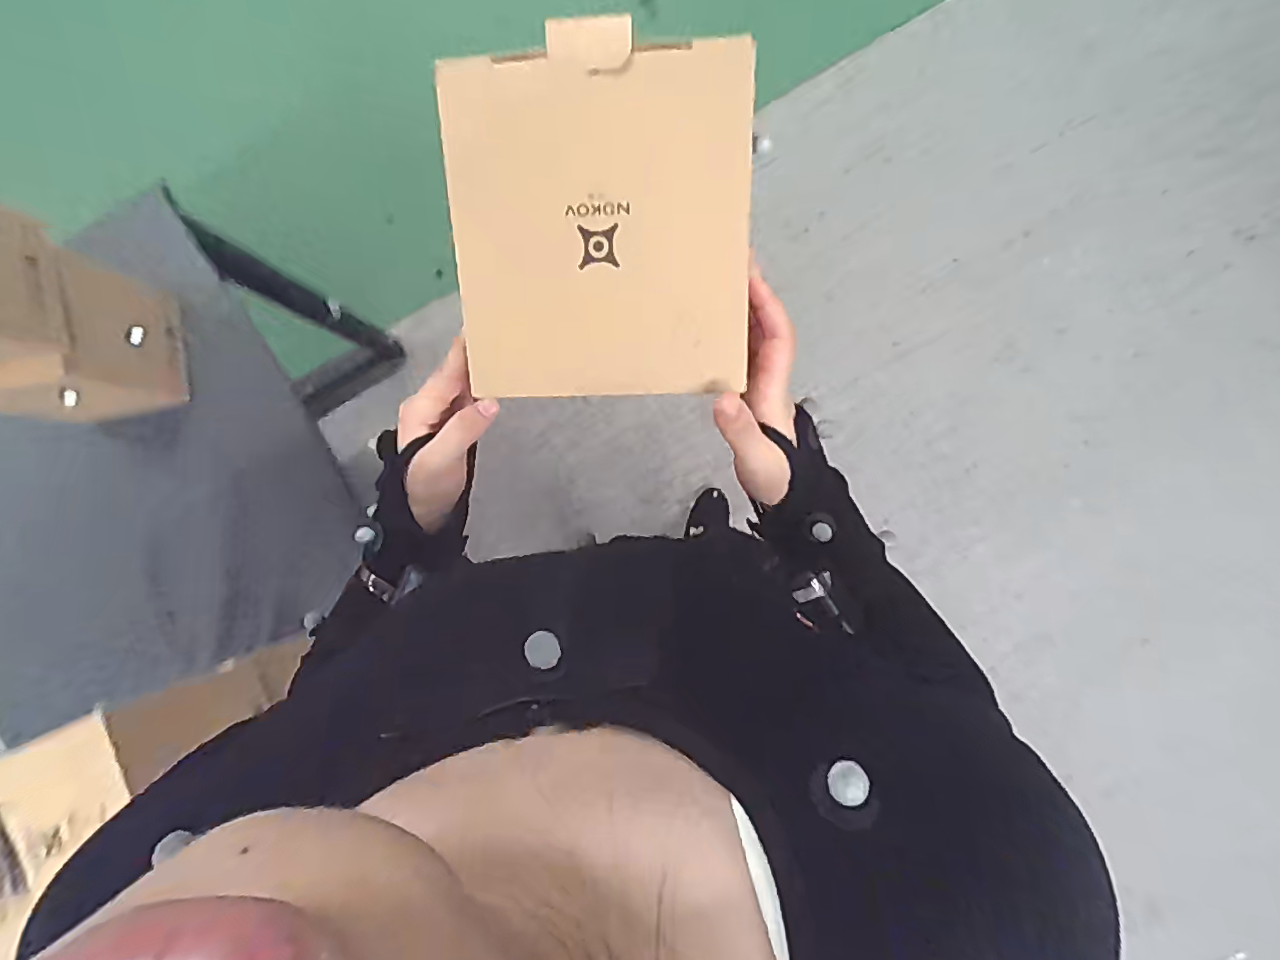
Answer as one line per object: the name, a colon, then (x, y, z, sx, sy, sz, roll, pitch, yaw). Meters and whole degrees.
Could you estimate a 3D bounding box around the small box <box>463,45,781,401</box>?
small box: (-0.002, -0.154, 0.372, 0.168, 0.176, 0.179, 0, 106, 5)

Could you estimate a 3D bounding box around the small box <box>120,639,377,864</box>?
small box: (-0.487, 0.332, 0.698, 0.179, 0.176, 0.168, -30, 86, 3)
